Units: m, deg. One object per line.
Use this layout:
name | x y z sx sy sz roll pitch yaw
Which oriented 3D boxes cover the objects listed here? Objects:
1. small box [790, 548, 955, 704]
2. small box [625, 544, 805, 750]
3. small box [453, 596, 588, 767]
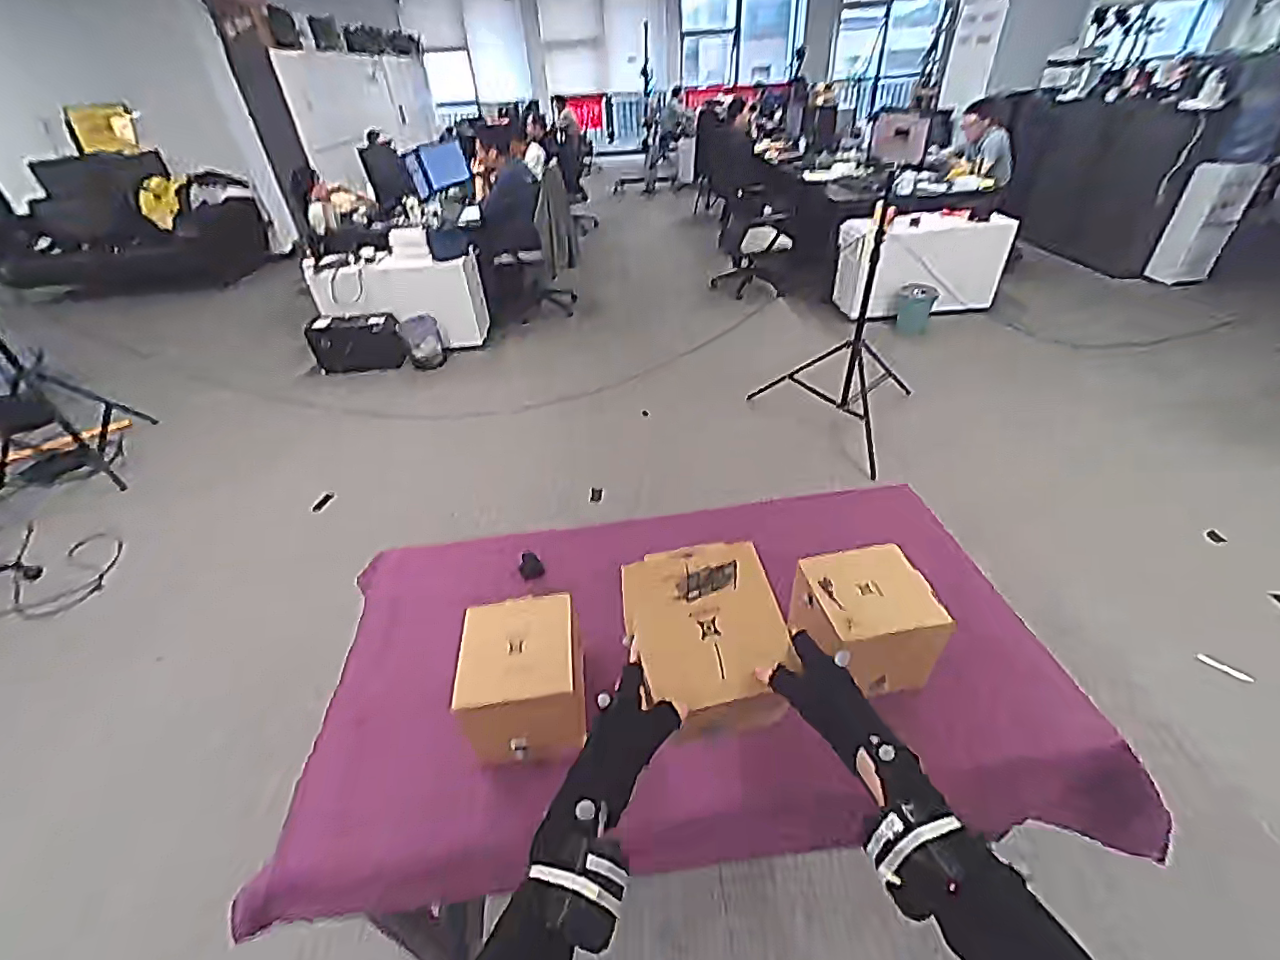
small box | 0.363 0.237 0.880 0.179 0.176 0.168 -8 37 -5
small box | 0.077 0.206 0.666 0.168 0.176 0.179 -11 53 -6
small box | -0.174 0.308 0.836 0.168 0.176 0.179 -8 38 -4
